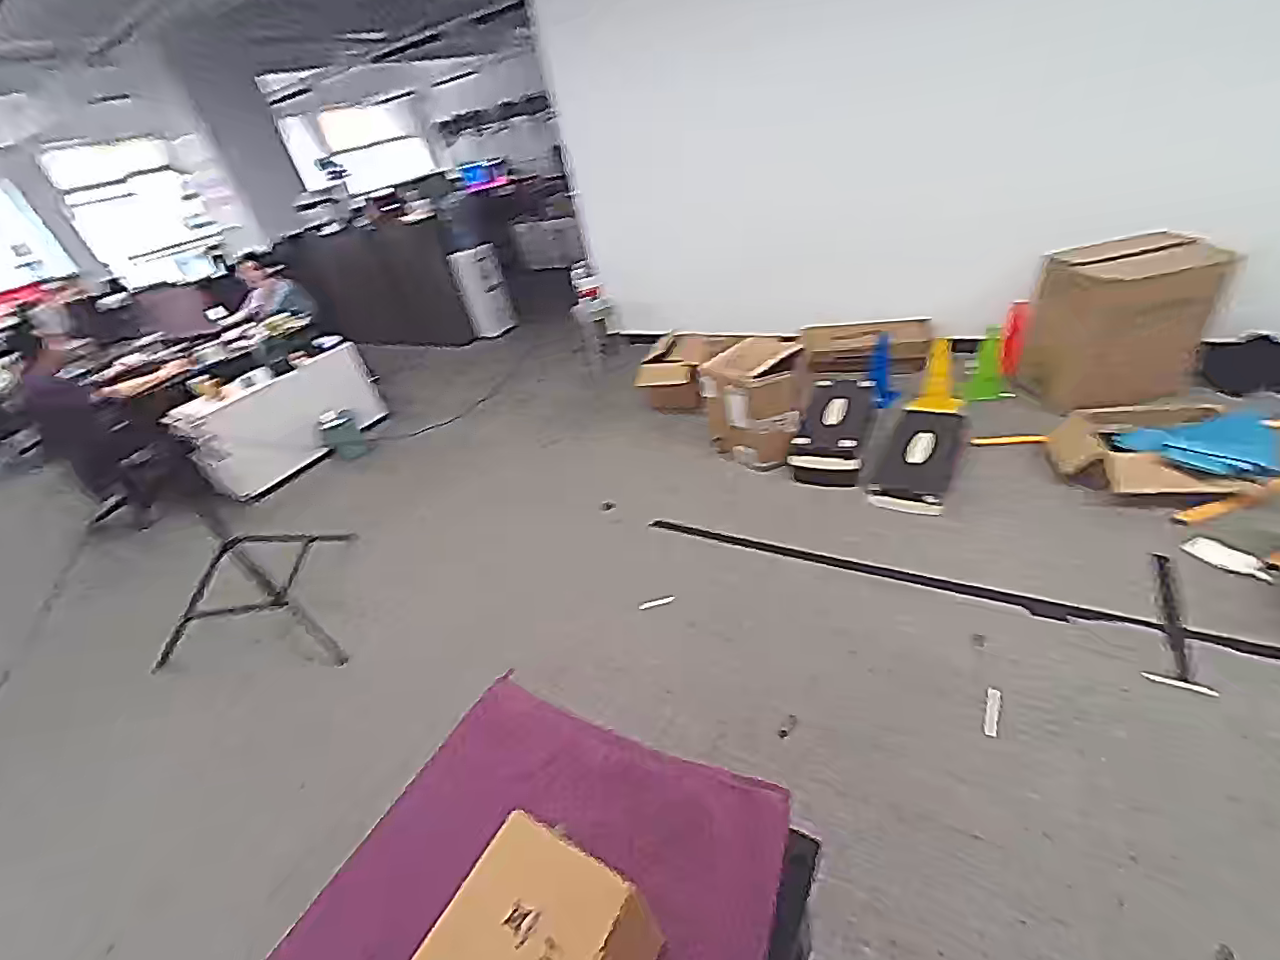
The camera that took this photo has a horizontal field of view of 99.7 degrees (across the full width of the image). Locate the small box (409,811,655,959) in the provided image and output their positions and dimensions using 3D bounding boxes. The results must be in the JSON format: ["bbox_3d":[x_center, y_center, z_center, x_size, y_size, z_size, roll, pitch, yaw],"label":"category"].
[{"bbox_3d":[-0.106,0.517,0.594,0.179,0.176,0.168,10,41,32],"label":"small box"}]
